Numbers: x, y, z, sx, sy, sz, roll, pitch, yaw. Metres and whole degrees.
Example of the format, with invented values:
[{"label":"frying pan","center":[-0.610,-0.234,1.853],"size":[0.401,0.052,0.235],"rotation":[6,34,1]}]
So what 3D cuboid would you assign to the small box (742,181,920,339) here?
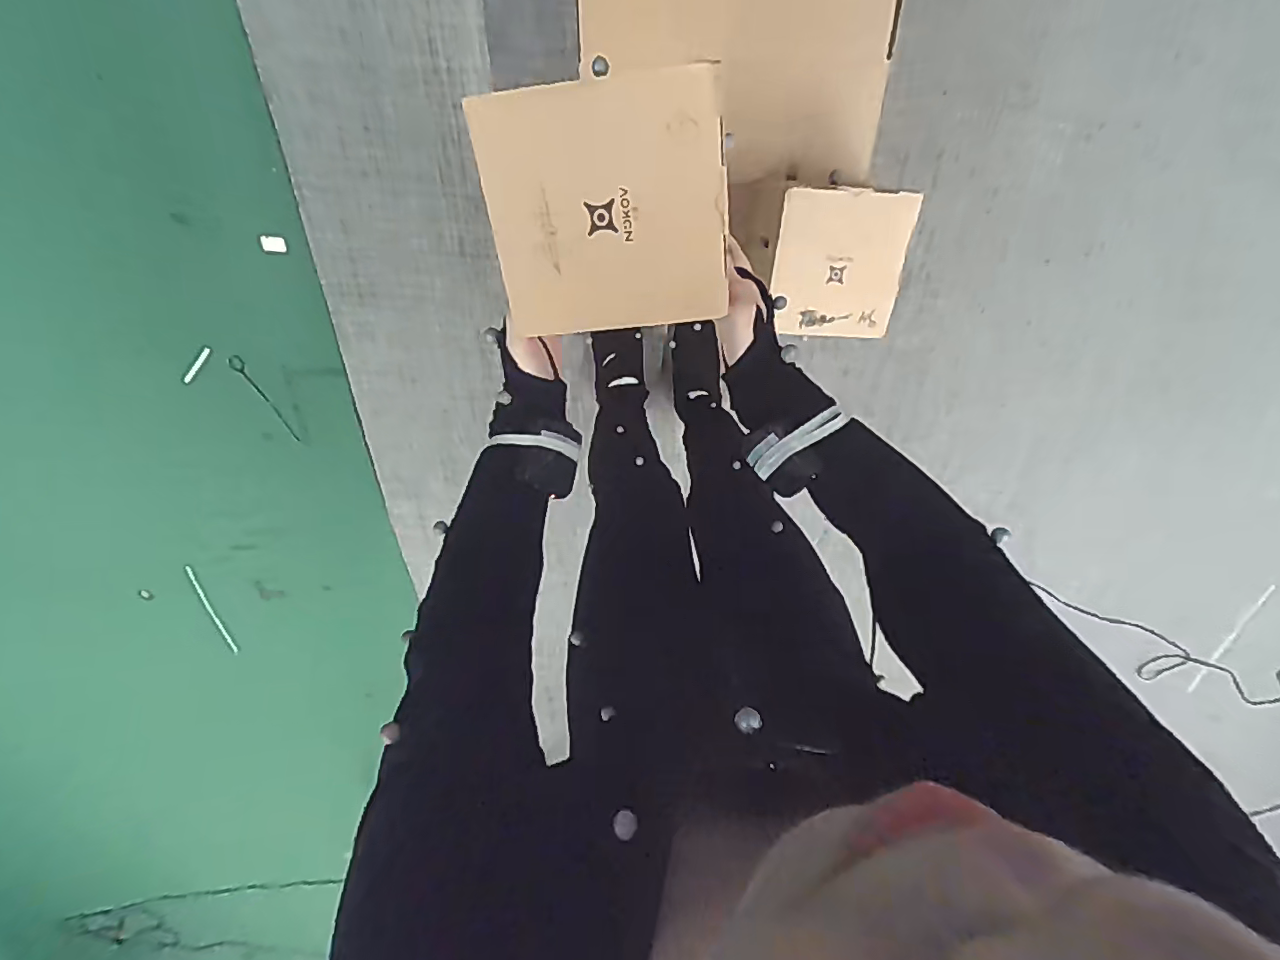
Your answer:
[{"label":"small box","center":[0.243,-0.306,0.742],"size":[0.168,0.176,0.179],"rotation":[3,120,-1]}]

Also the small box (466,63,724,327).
[{"label":"small box","center":[-0.023,-0.242,0.470],"size":[0.179,0.176,0.168],"rotation":[-3,120,6]}]
